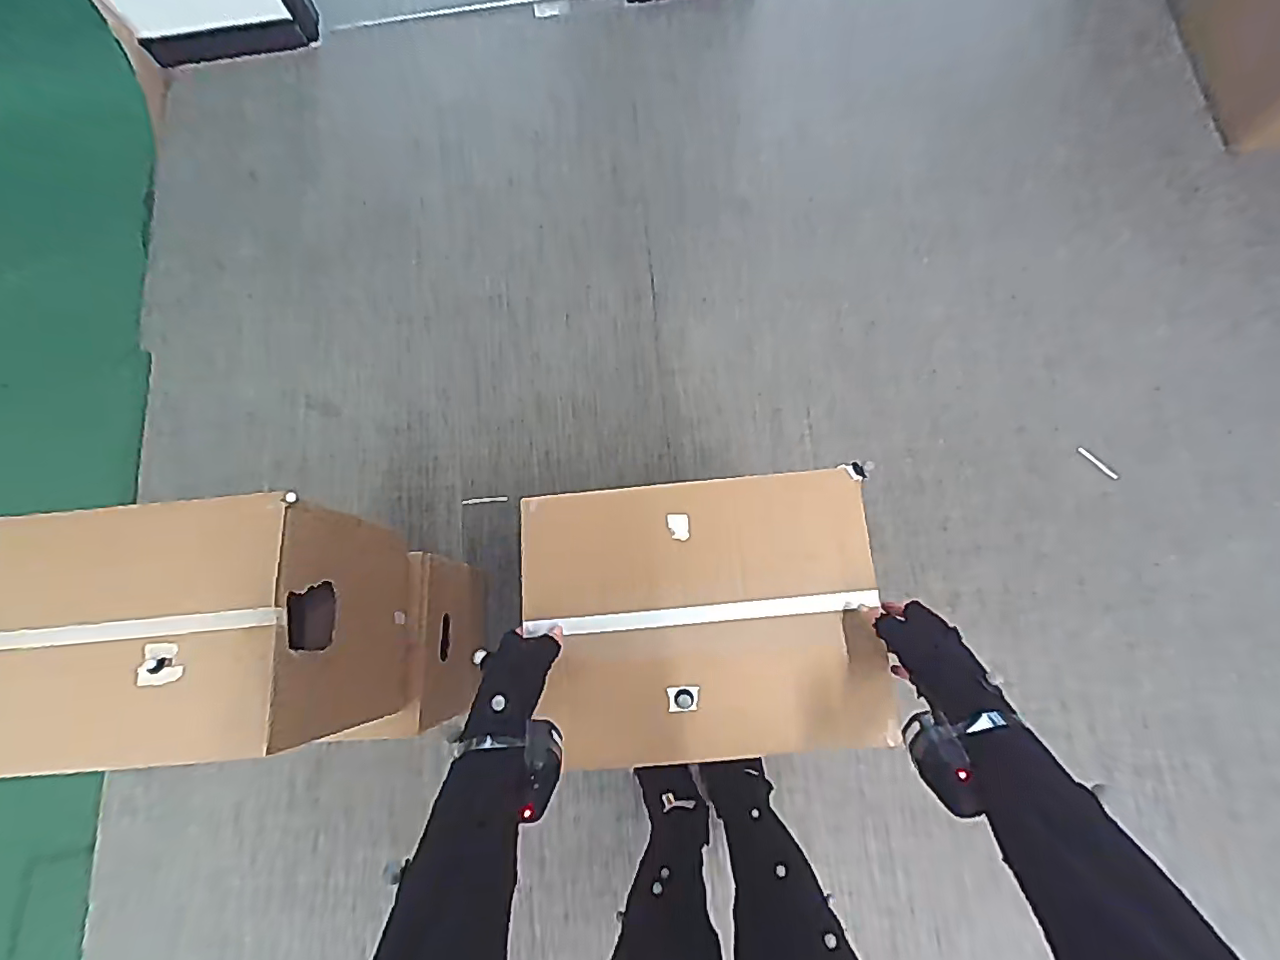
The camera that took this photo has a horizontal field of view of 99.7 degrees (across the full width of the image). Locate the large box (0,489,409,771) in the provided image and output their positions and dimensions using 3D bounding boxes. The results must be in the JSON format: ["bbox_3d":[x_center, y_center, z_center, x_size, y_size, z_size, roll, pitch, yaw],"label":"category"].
[{"bbox_3d":[-0.615,0.219,0.803,0.408,0.320,0.320,-4,74,2],"label":"large box"}]
